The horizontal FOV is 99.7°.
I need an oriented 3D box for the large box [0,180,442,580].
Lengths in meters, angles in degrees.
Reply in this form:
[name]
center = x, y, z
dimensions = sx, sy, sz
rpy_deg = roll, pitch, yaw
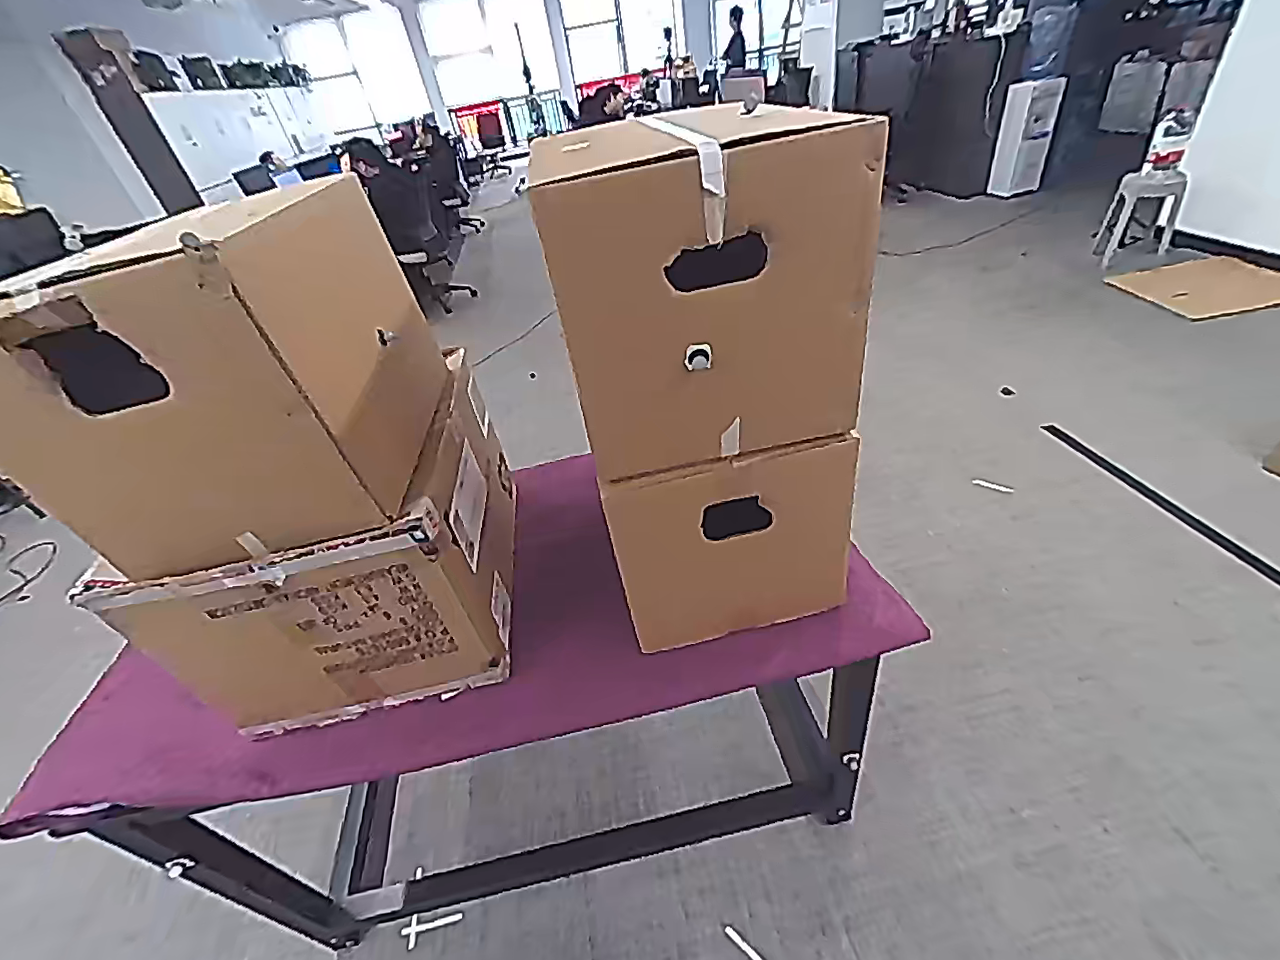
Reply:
[large box]
center = -0.481, -0.148, 0.689
dimensions = 0.320, 0.320, 0.408
rpy_deg = -15, 38, 1
